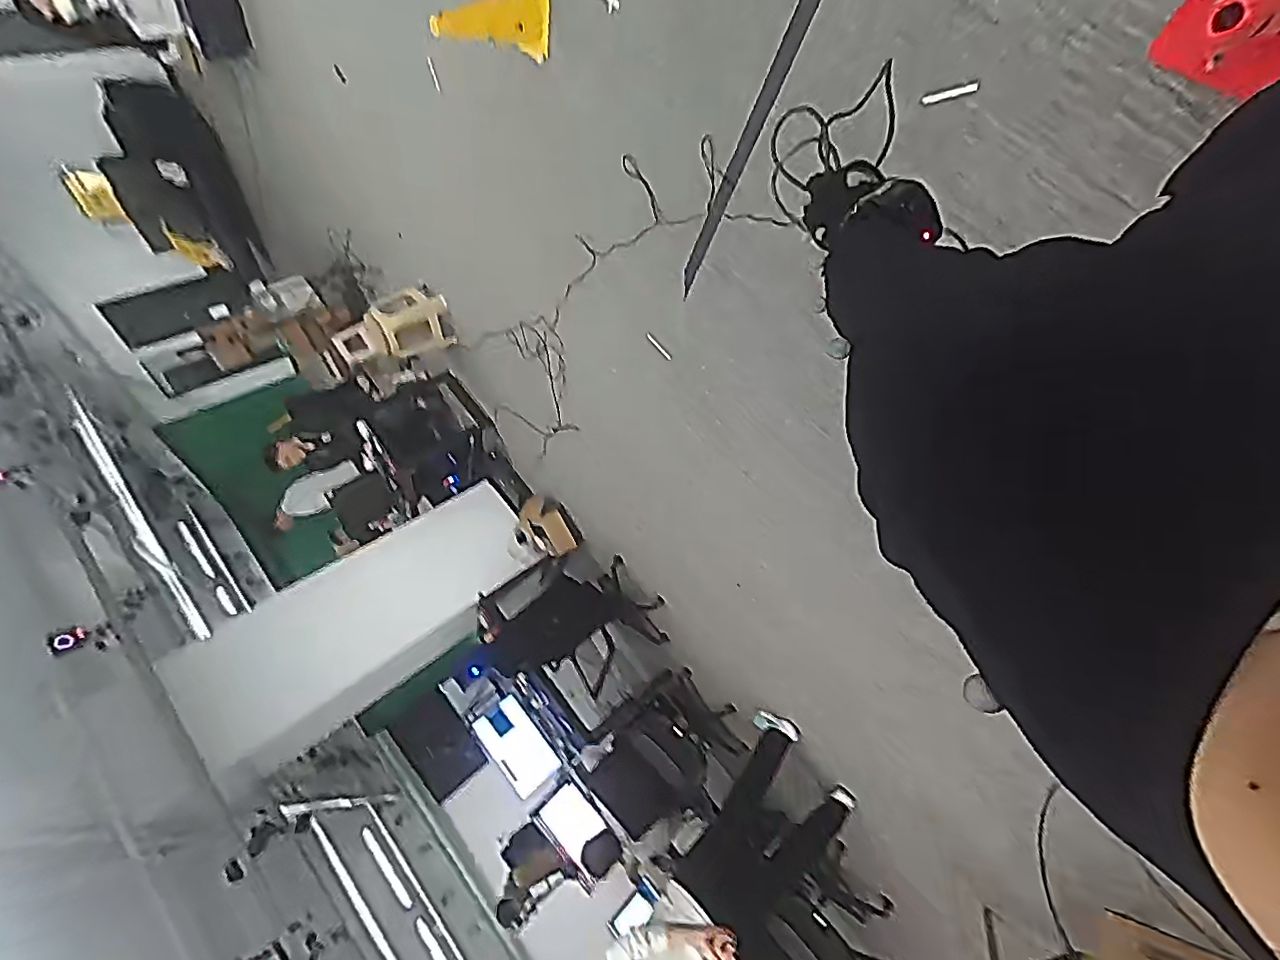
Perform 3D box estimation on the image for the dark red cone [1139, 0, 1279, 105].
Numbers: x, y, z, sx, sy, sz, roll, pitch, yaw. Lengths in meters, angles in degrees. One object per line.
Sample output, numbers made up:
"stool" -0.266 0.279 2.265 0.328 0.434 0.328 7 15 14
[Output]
"dark red cone" 0.745 -0.584 0.670 0.201 0.394 0.202 46 149 20
